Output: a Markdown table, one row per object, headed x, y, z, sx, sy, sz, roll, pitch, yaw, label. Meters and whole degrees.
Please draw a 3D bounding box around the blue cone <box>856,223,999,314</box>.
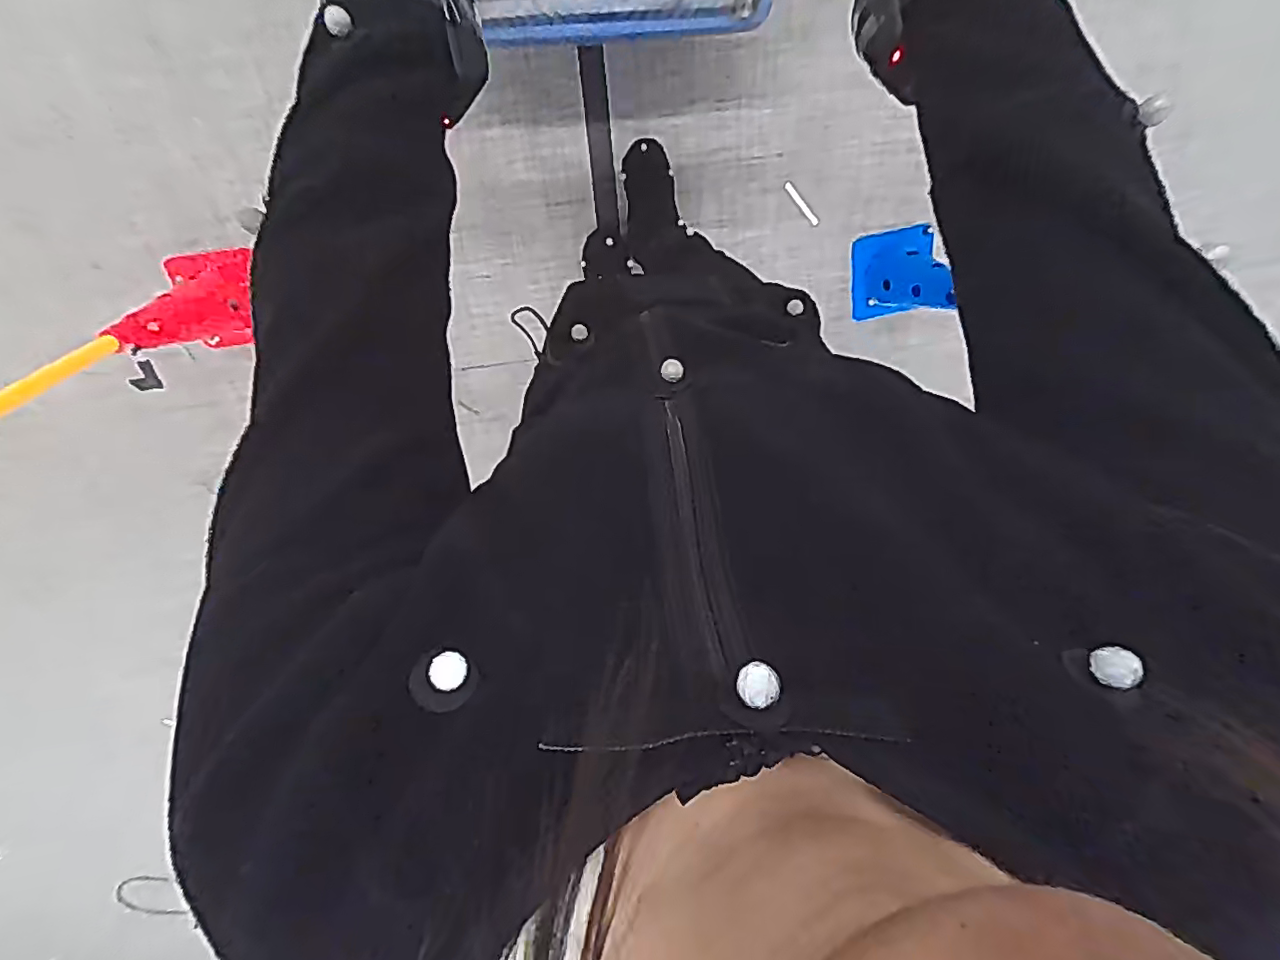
| x | y | z | sx | sy | sz | roll | pitch | yaw | label |
| --- | --- | --- | --- | --- | --- | --- | --- | --- | --- |
| 0.639 | -0.434 | 1.179 | 0.193 | 0.380 | 0.192 | -11 | 119 | -1 | blue cone |
